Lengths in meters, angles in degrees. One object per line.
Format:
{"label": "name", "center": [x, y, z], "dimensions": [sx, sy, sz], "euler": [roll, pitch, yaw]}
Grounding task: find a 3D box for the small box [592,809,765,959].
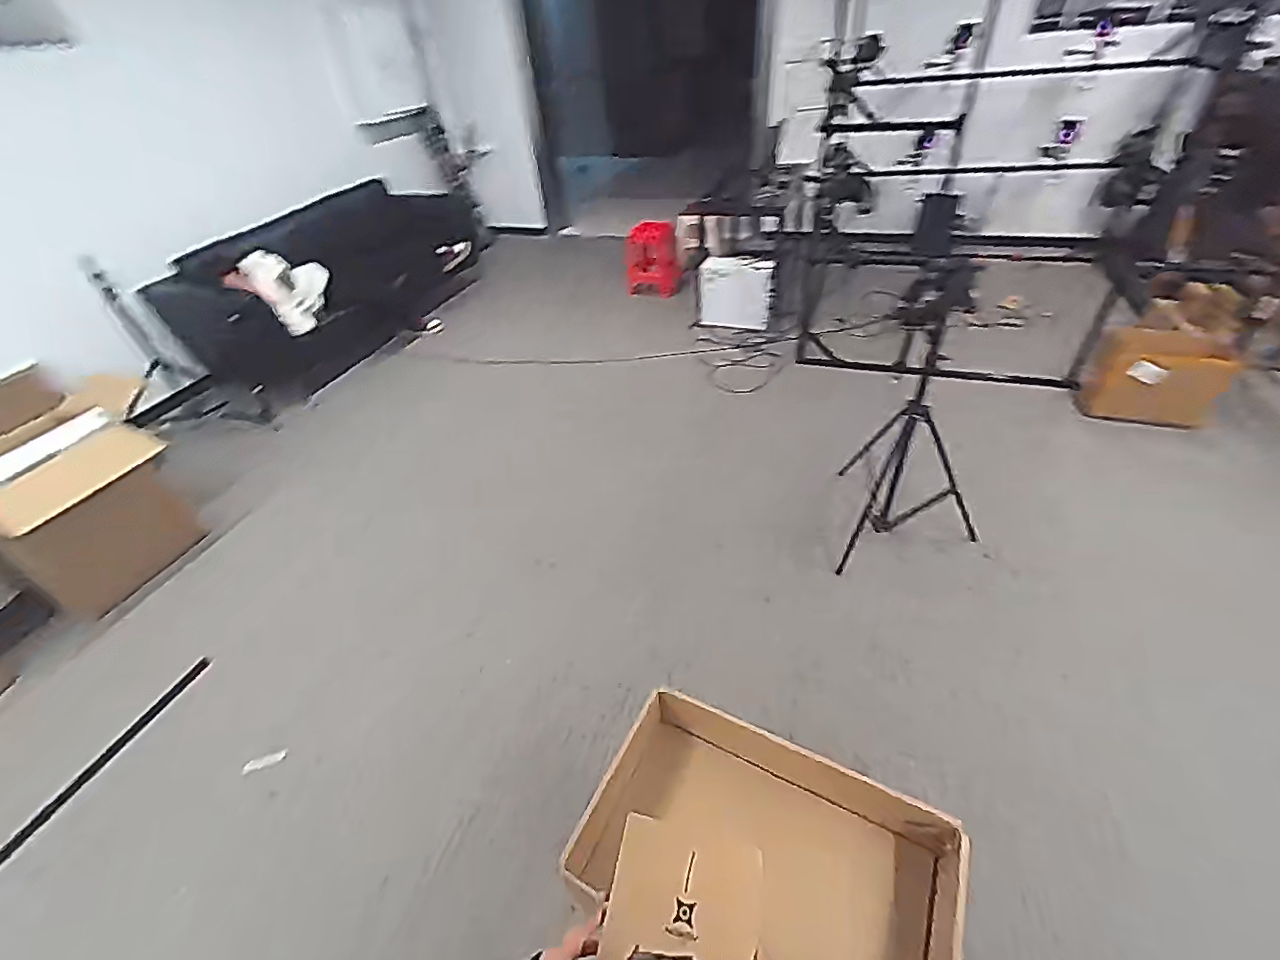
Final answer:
{"label": "small box", "center": [0.042, 0.521, 0.629], "dimensions": [0.168, 0.176, 0.179], "euler": [12, 46, 8]}
